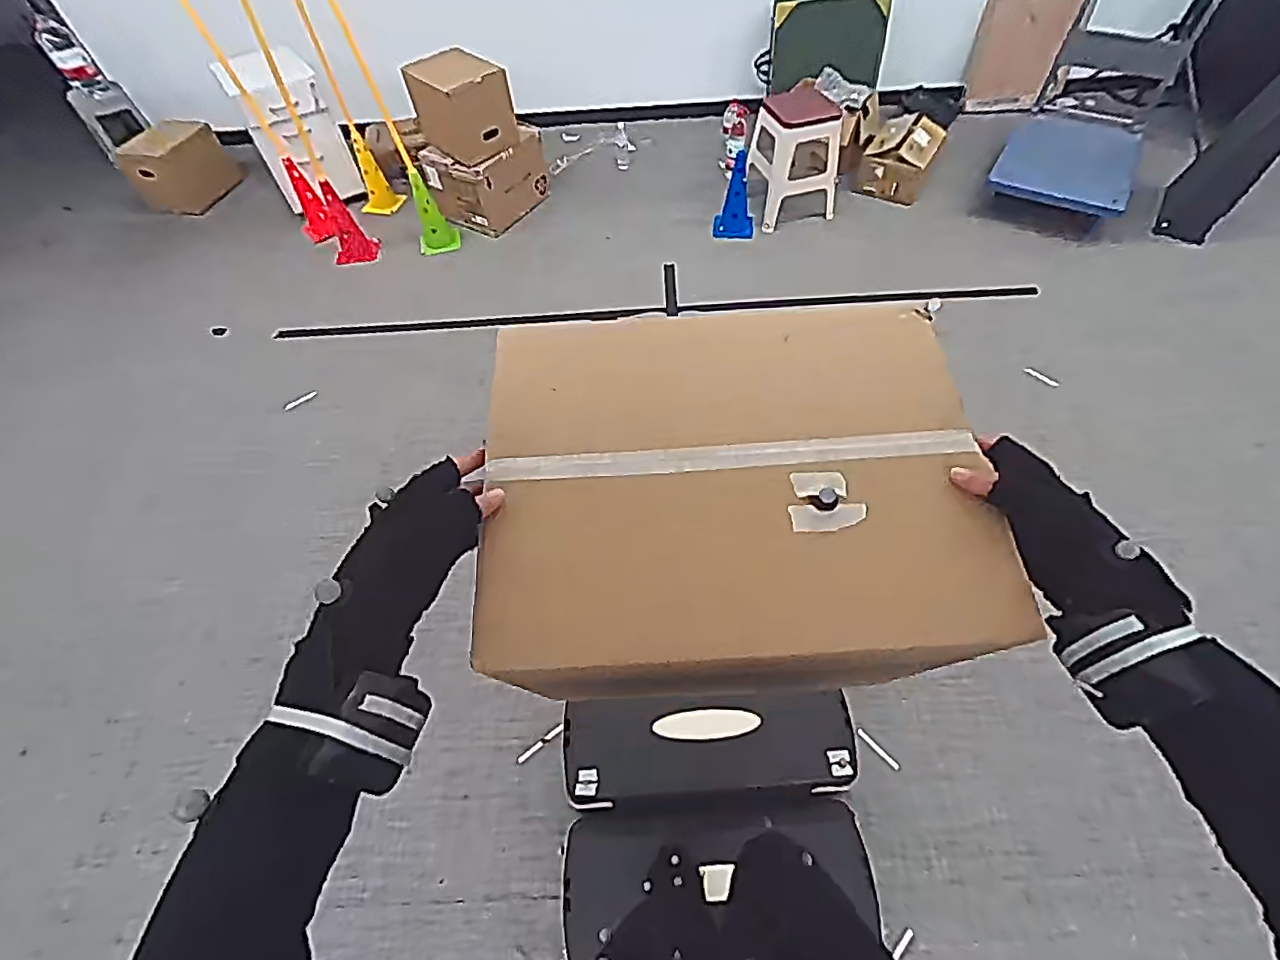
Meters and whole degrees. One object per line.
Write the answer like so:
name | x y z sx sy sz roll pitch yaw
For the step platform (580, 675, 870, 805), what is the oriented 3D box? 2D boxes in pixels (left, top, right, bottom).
step platform | 0.194 0.610 1.335 0.684 0.204 0.286 -4 55 -1

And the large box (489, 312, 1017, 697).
large box | 0.077 0.050 0.597 0.408 0.320 0.320 -3 65 0
